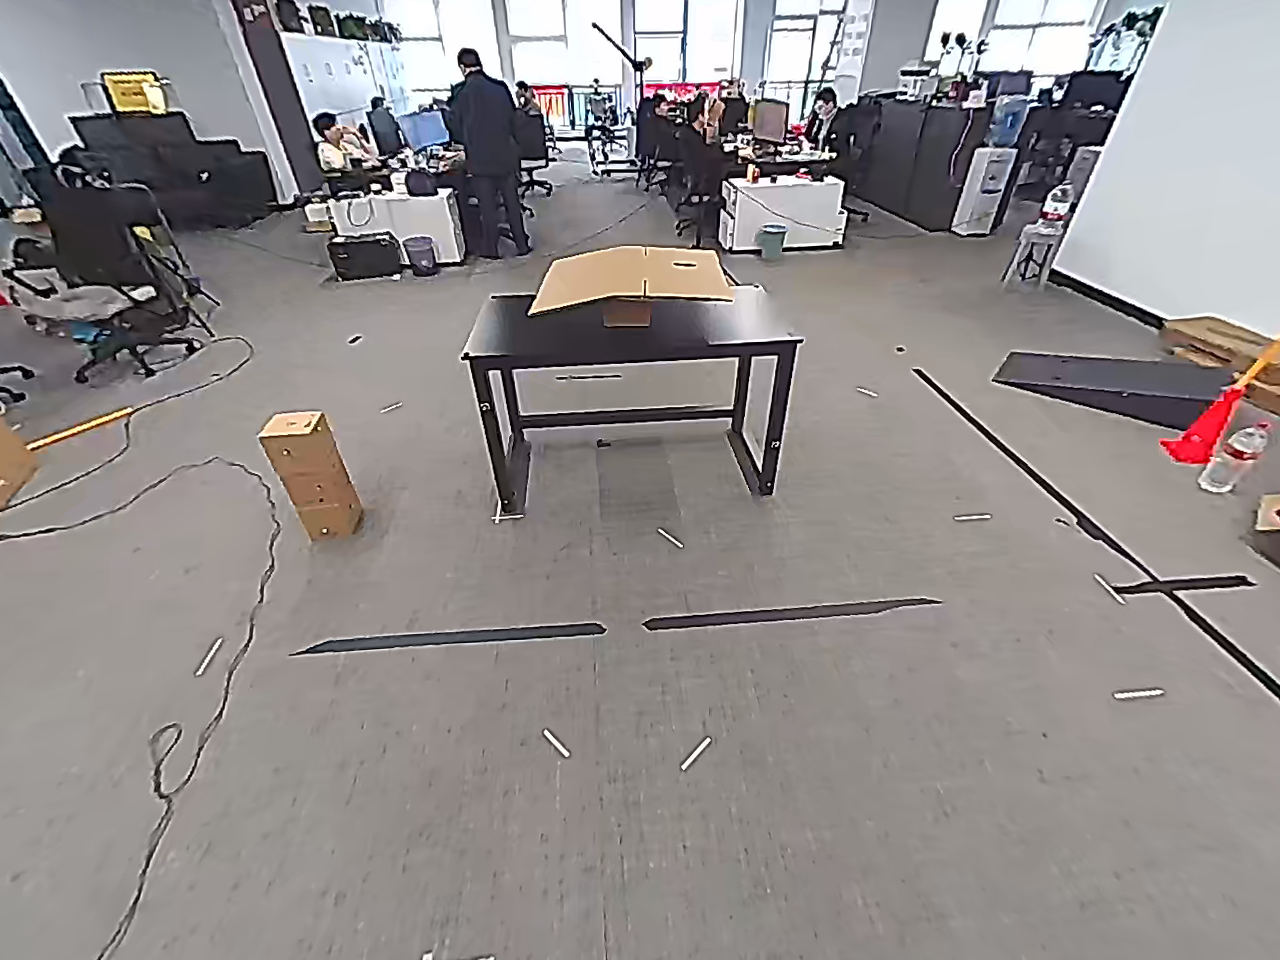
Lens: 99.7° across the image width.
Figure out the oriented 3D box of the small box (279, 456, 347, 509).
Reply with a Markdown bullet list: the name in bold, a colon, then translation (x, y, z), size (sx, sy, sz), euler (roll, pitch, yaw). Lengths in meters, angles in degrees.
- **small box**: translation (-1.286, 0.004, 2.142), size (0.168, 0.176, 0.179), euler (-7, 36, -10)

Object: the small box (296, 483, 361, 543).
- **small box**: translation (-1.280, 0.136, 2.237), size (0.168, 0.176, 0.179), euler (-6, 39, -6)

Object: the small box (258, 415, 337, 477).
- **small box**: translation (-1.285, -0.125, 2.041), size (0.179, 0.176, 0.168), euler (-6, 38, -7)
